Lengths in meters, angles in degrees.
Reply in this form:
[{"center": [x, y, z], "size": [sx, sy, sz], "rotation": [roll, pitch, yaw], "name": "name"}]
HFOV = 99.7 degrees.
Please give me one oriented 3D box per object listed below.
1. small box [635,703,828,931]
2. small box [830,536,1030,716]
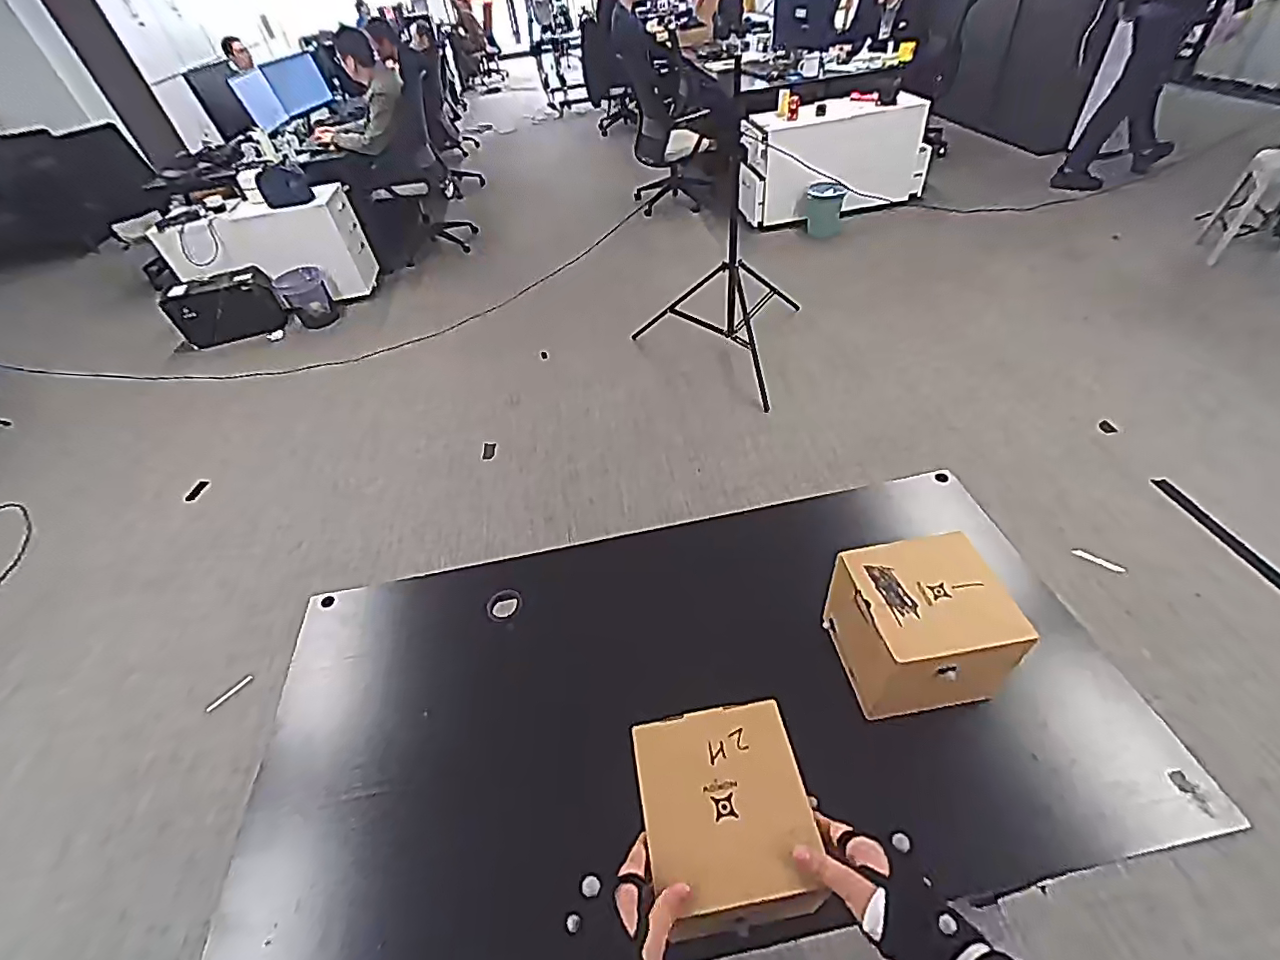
[{"center": [0.094, 0.383, 0.609], "size": [0.168, 0.176, 0.179], "rotation": [-10, 44, -2], "name": "small box"}, {"center": [0.375, 0.204, 0.744], "size": [0.179, 0.176, 0.168], "rotation": [-9, 45, -1], "name": "small box"}]
